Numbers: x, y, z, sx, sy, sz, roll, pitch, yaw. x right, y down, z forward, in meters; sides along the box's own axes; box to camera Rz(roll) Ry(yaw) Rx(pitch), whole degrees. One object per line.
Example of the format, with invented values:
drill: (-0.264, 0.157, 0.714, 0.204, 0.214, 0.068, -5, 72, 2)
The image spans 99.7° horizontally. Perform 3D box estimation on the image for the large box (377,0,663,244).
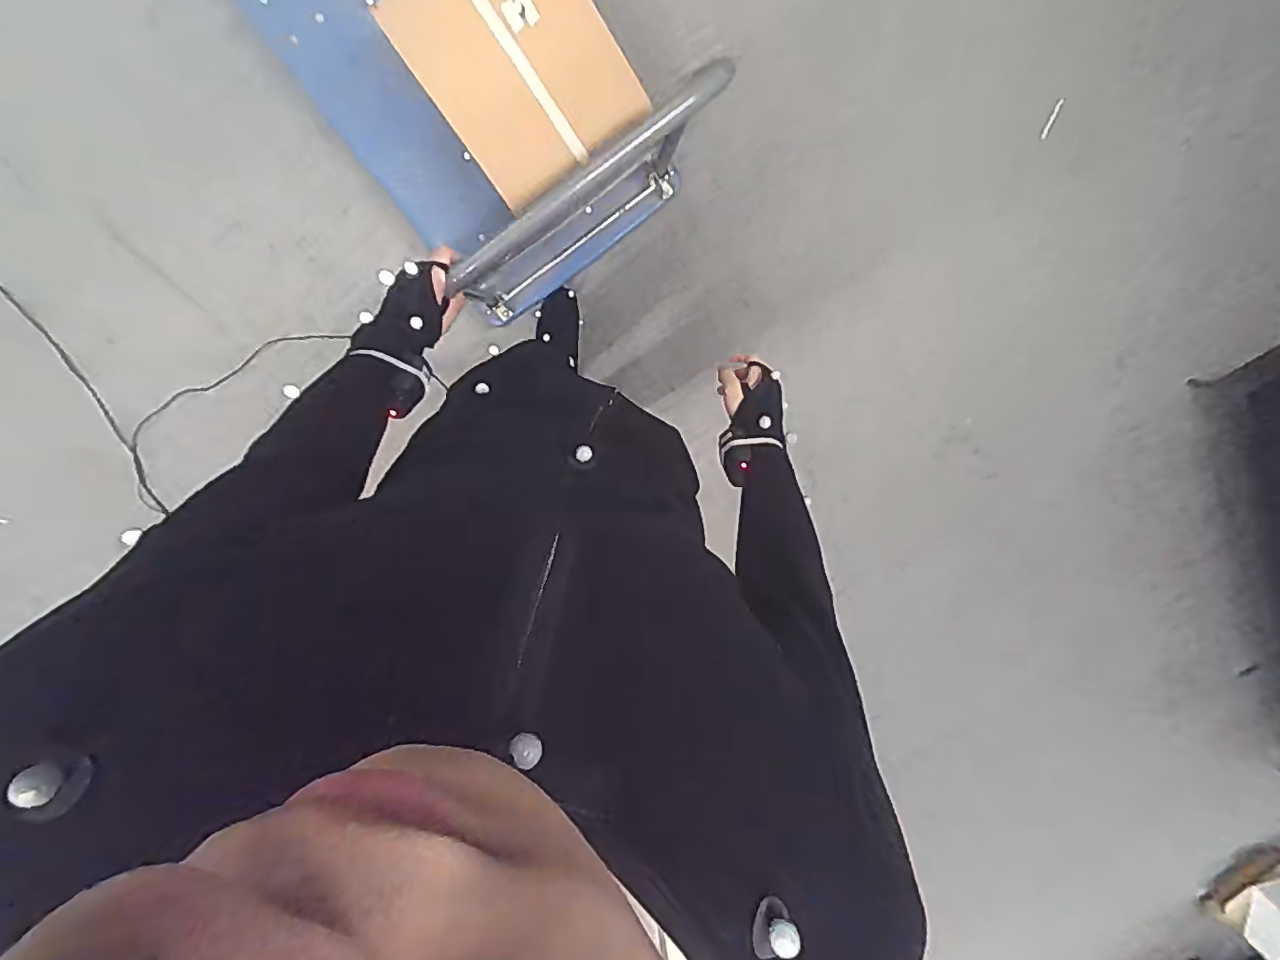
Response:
large box: (-0.206, -0.739, 1.061, 0.320, 0.320, 0.408, -35, 109, 5)
